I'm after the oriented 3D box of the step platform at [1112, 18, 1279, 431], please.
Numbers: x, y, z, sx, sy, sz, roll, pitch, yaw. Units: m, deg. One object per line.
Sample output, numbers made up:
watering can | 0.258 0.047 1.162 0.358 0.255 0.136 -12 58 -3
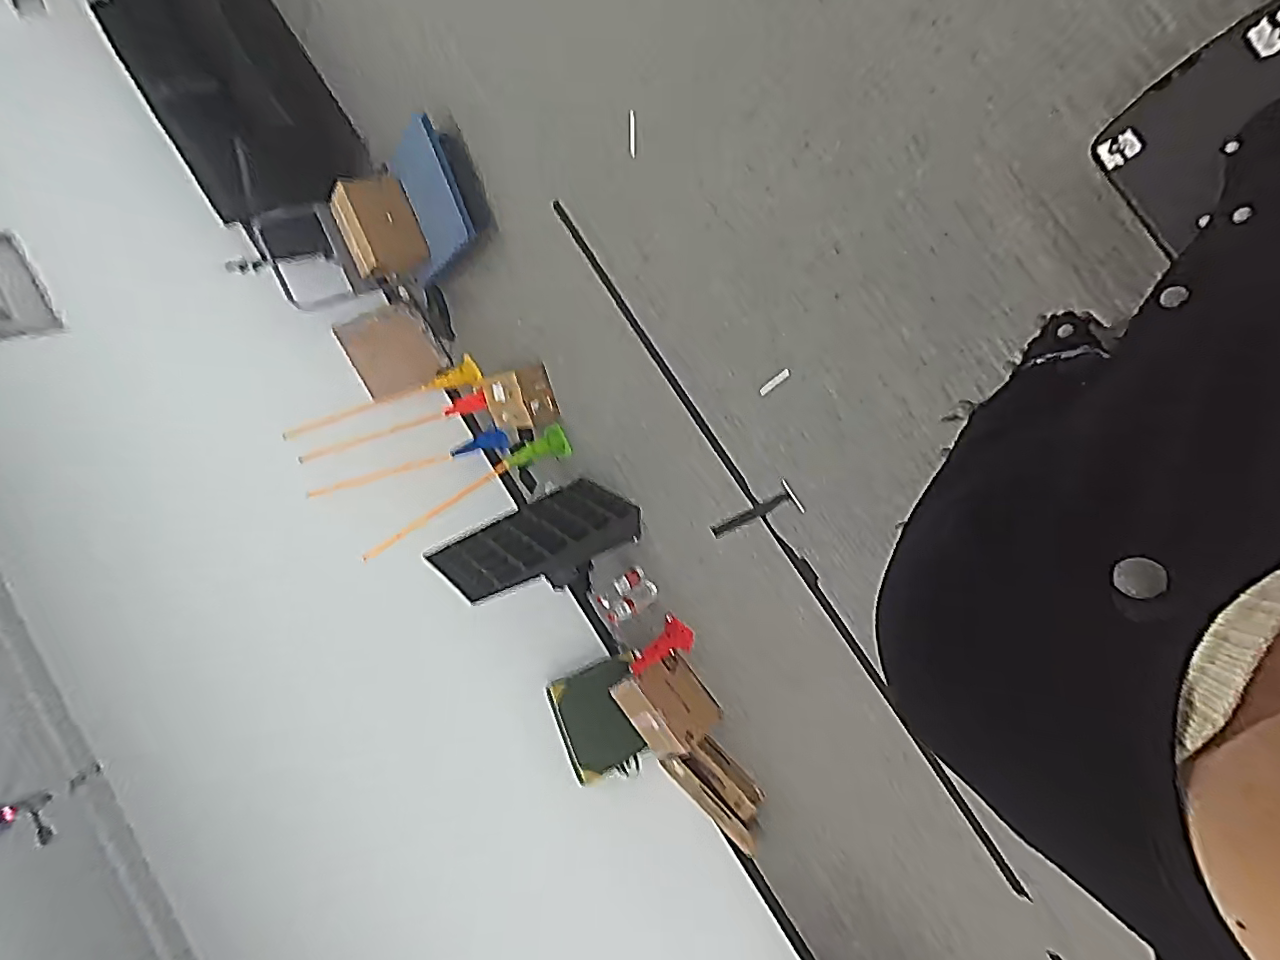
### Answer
step platform | 1.113 -0.399 0.895 0.286 0.204 0.684 -32 85 54
